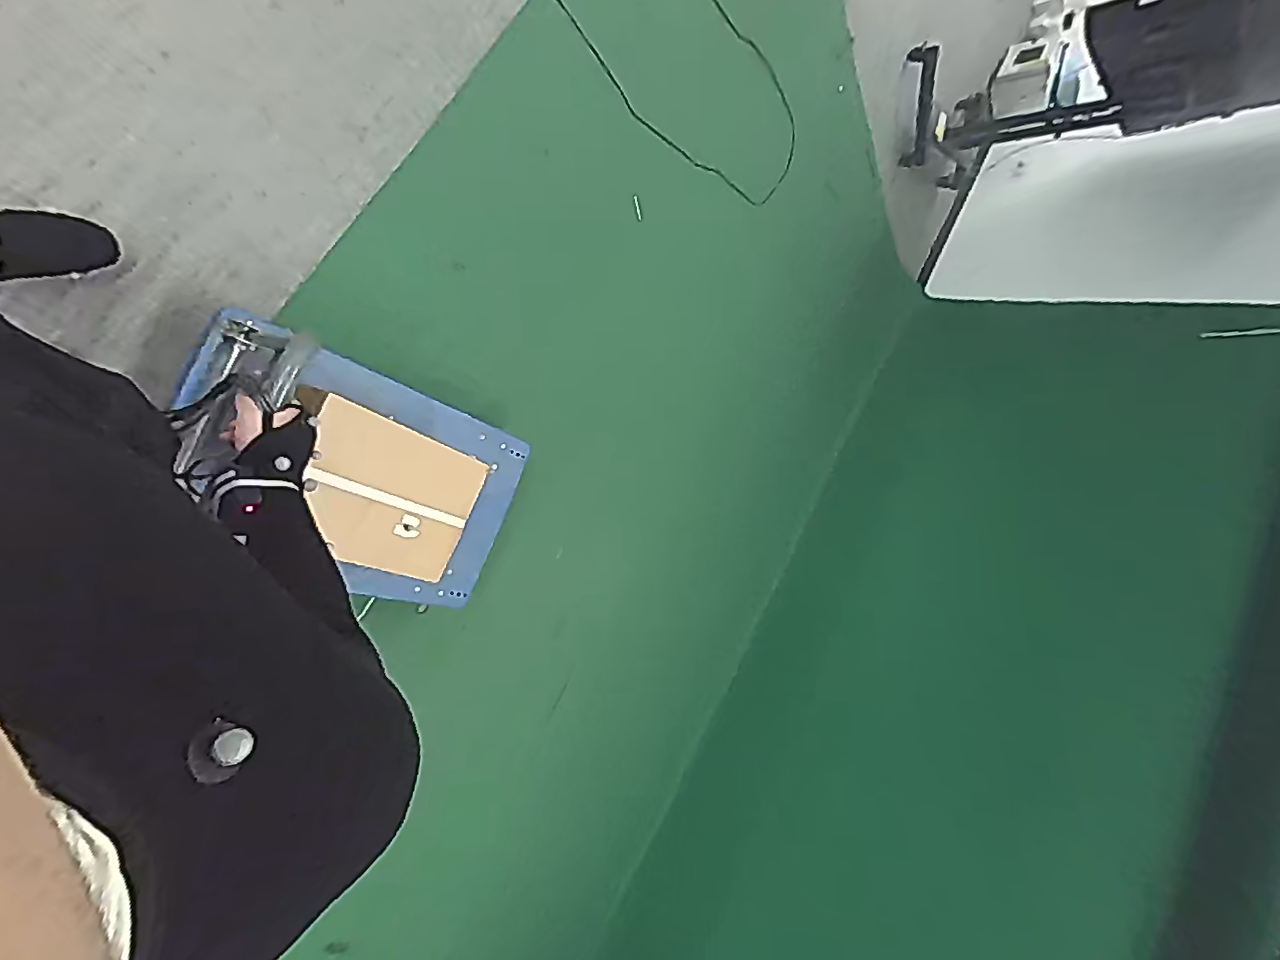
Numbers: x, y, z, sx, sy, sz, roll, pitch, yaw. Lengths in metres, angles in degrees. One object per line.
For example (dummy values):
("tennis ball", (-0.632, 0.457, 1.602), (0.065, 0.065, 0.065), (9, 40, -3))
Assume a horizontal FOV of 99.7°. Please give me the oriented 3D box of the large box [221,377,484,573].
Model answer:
("large box", (-0.663, -0.007, 1.272), (0.408, 0.320, 0.320), (31, 80, -49))
